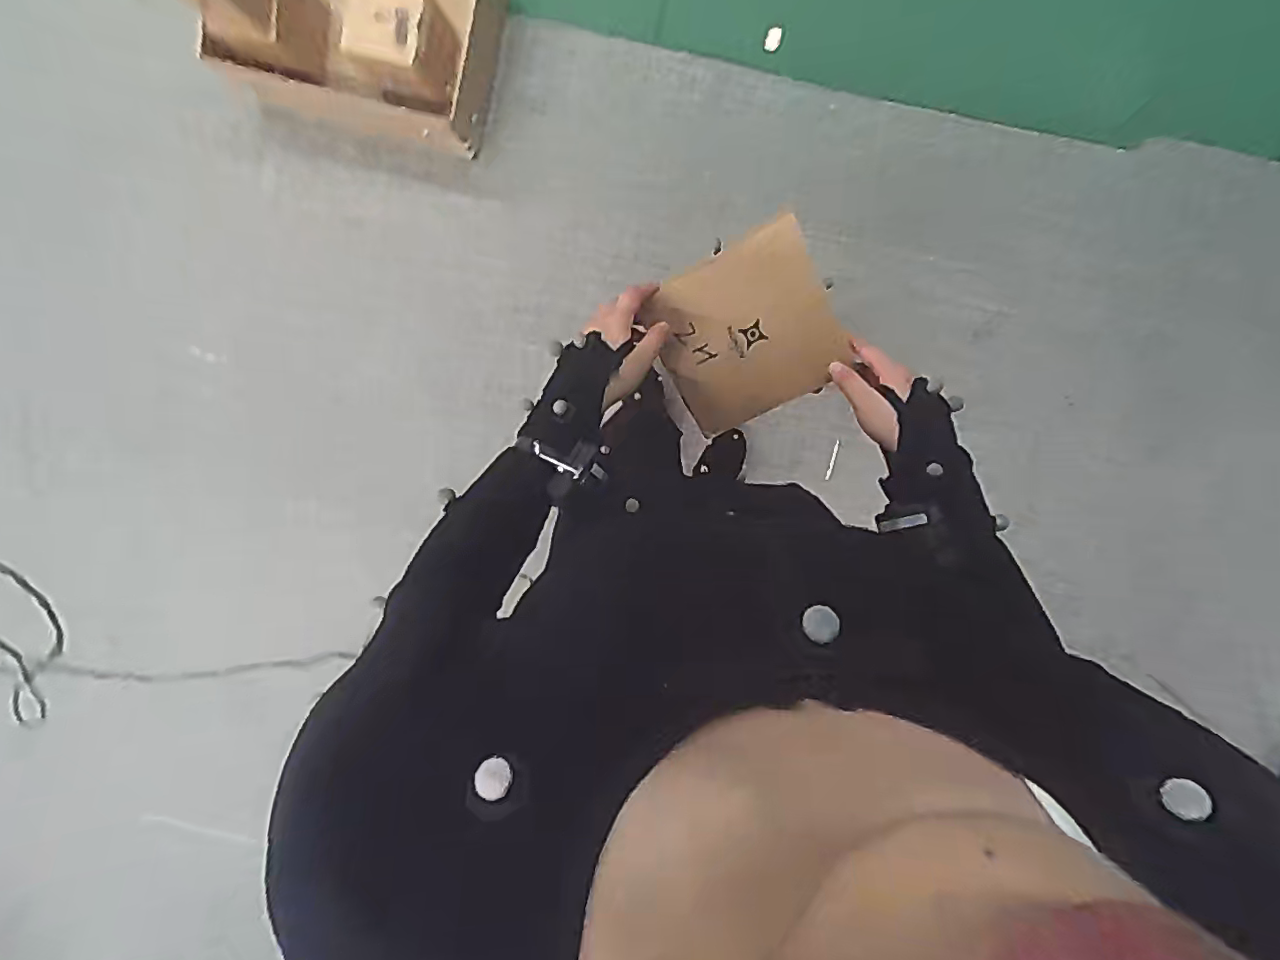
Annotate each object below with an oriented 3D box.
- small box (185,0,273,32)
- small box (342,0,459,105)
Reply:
[{"bbox_3d":[-0.861,-1.053,1.079,0.168,0.176,0.179,17,101,1],"label":"small box"},{"bbox_3d":[-0.536,-0.996,1.231,0.179,0.176,0.168,15,100,3],"label":"small box"}]
